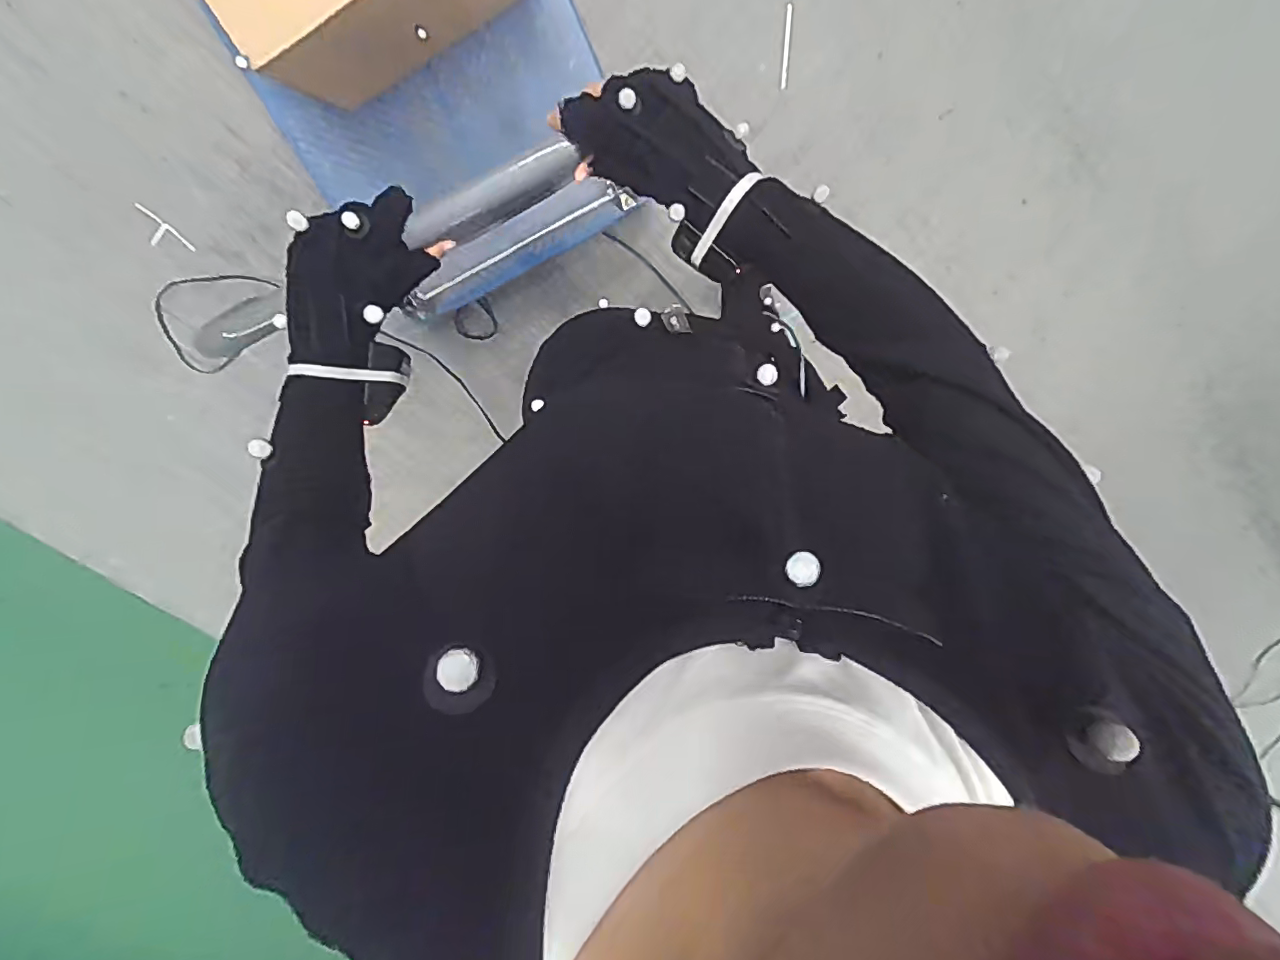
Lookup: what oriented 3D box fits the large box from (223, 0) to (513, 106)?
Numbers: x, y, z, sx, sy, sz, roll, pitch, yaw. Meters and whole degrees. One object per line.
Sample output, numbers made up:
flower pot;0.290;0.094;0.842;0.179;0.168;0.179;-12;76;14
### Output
large box;-0.402;-0.824;0.767;0.408;0.320;0.320;-27;113;9
